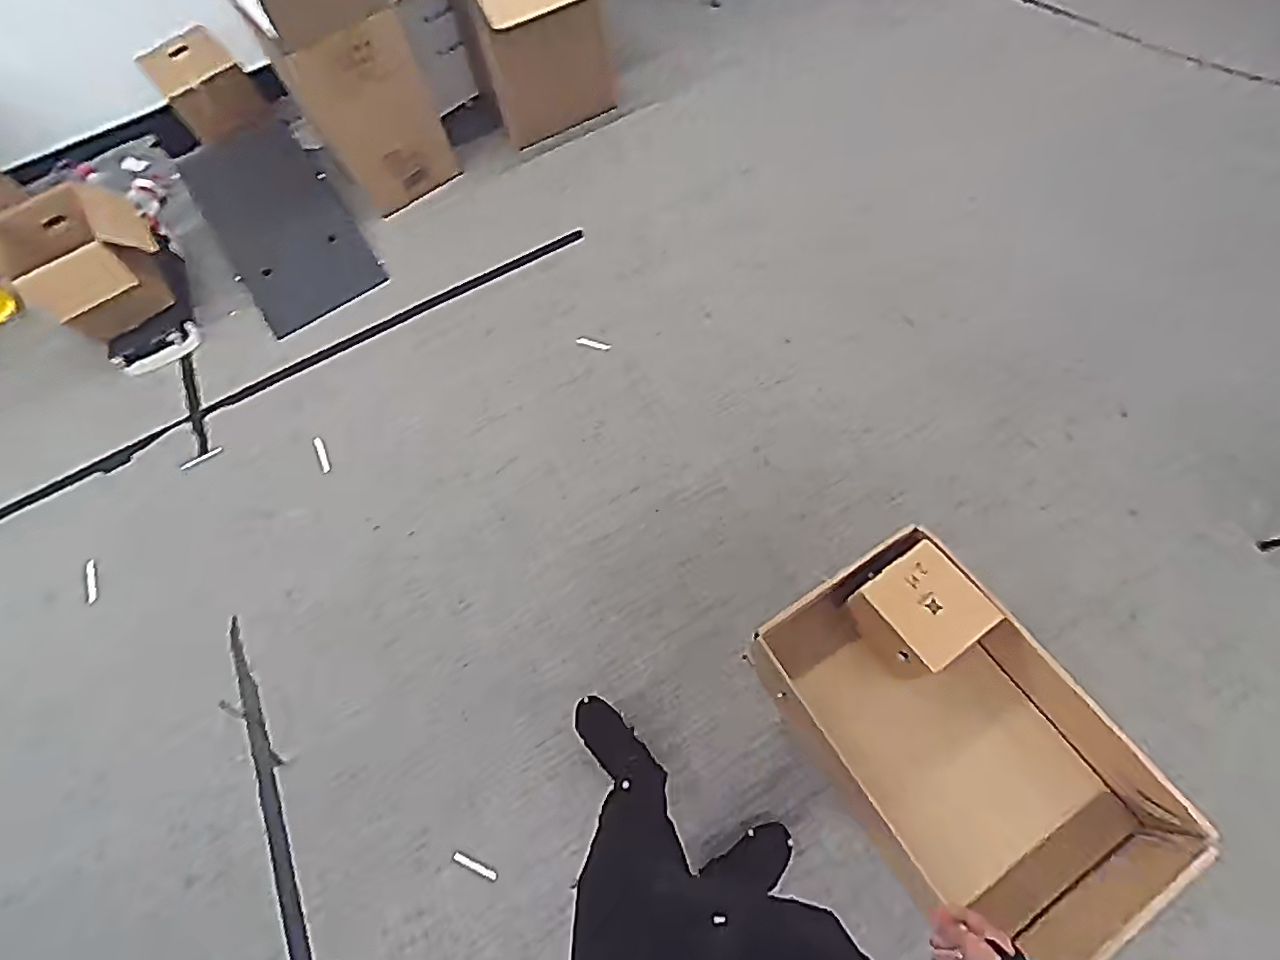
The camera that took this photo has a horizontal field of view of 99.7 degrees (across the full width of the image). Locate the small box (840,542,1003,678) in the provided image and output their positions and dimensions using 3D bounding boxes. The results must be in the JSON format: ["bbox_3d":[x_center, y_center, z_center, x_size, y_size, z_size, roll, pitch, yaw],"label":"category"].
[{"bbox_3d":[0.506,0.249,1.001,0.168,0.176,0.179,-33,66,-10],"label":"small box"}]
